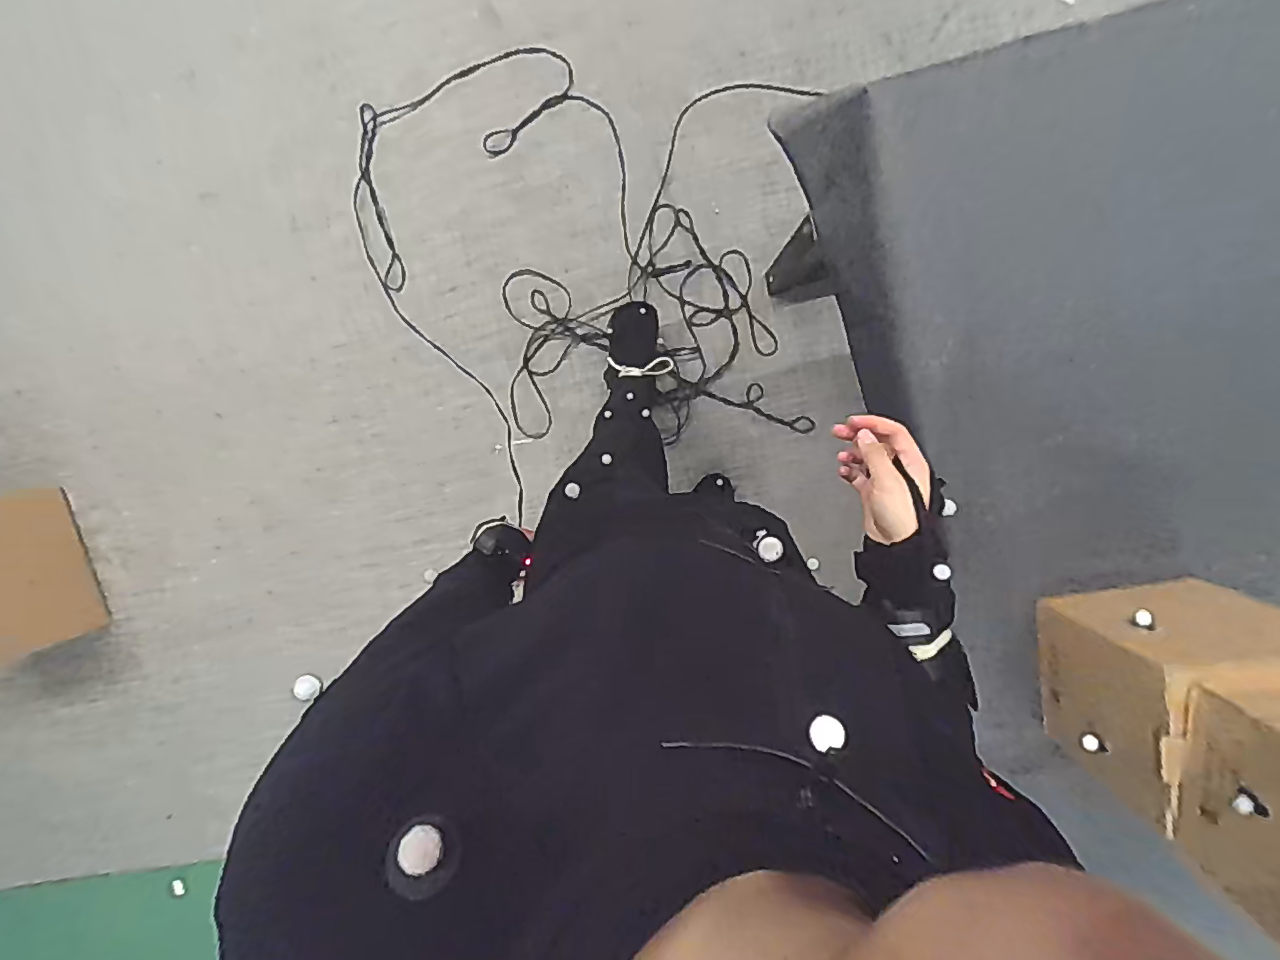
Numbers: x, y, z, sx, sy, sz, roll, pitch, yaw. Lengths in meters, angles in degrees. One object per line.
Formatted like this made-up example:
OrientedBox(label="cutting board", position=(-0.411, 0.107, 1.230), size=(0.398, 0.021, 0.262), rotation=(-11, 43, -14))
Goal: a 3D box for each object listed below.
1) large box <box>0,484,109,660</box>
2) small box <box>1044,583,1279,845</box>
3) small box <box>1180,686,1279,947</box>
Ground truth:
OrientedBox(label="large box", position=(-1.664, 0.251, 1.340), size=(0.320, 0.320, 0.408), rotation=(-13, 96, 4))
OrientedBox(label="small box", position=(0.537, 0.215, 0.534), size=(0.179, 0.176, 0.168), rotation=(-9, 99, 3))
OrientedBox(label="small box", position=(0.546, 0.259, 0.376), size=(0.179, 0.176, 0.168), rotation=(-4, 99, 4))
